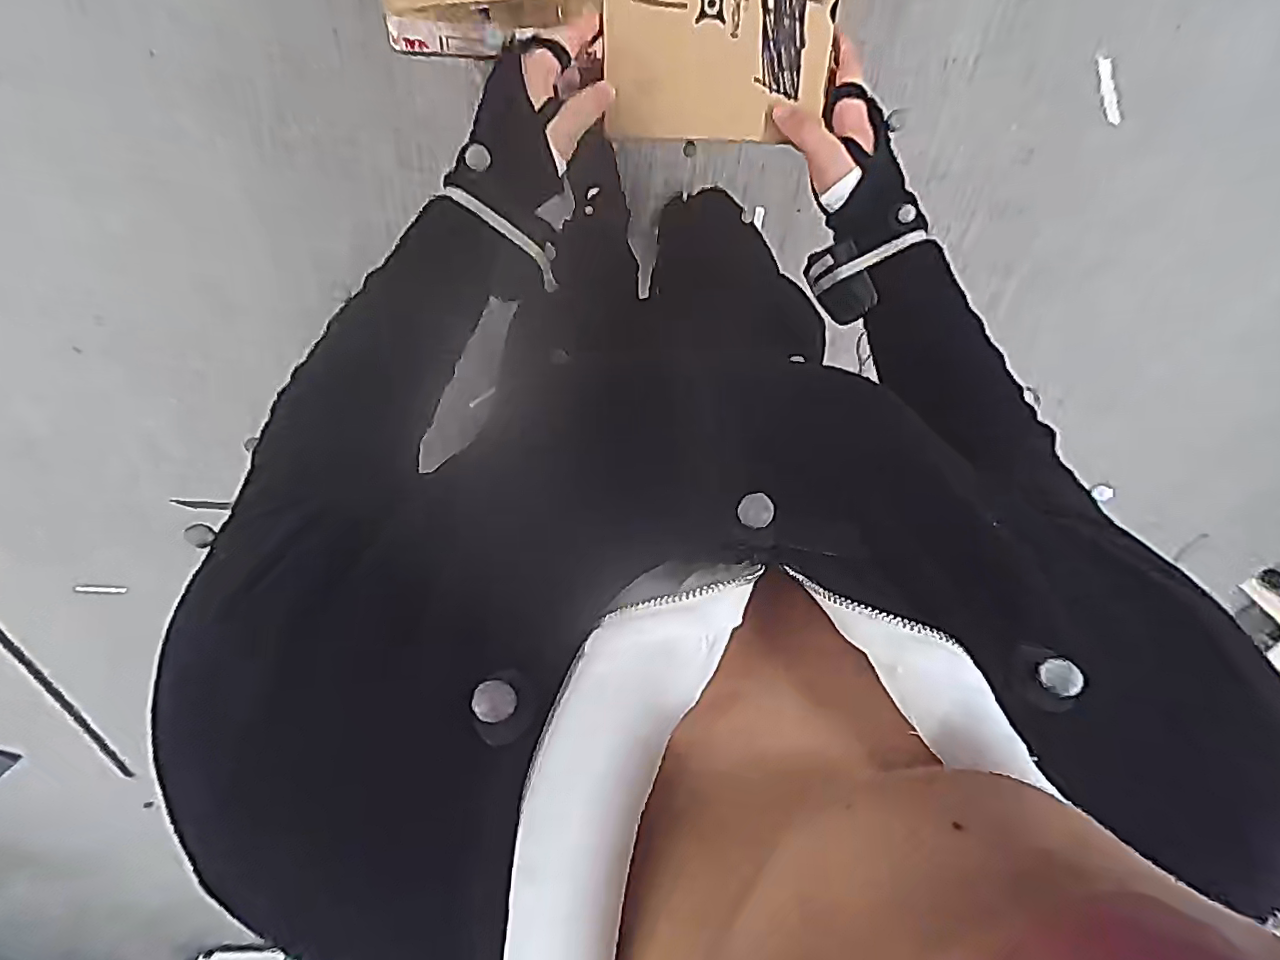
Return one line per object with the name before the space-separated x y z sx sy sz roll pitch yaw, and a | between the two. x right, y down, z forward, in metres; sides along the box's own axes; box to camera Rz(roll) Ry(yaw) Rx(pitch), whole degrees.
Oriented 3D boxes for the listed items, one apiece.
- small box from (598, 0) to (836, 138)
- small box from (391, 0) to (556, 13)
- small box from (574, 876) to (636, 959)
small box | 0.053 -0.394 0.458 0.179 0.176 0.168 0 124 -3
small box | -0.176 -0.592 0.543 0.168 0.176 0.179 -5 131 1
small box | -0.112 1.357 1.682 0.179 0.176 0.168 3 126 -7
